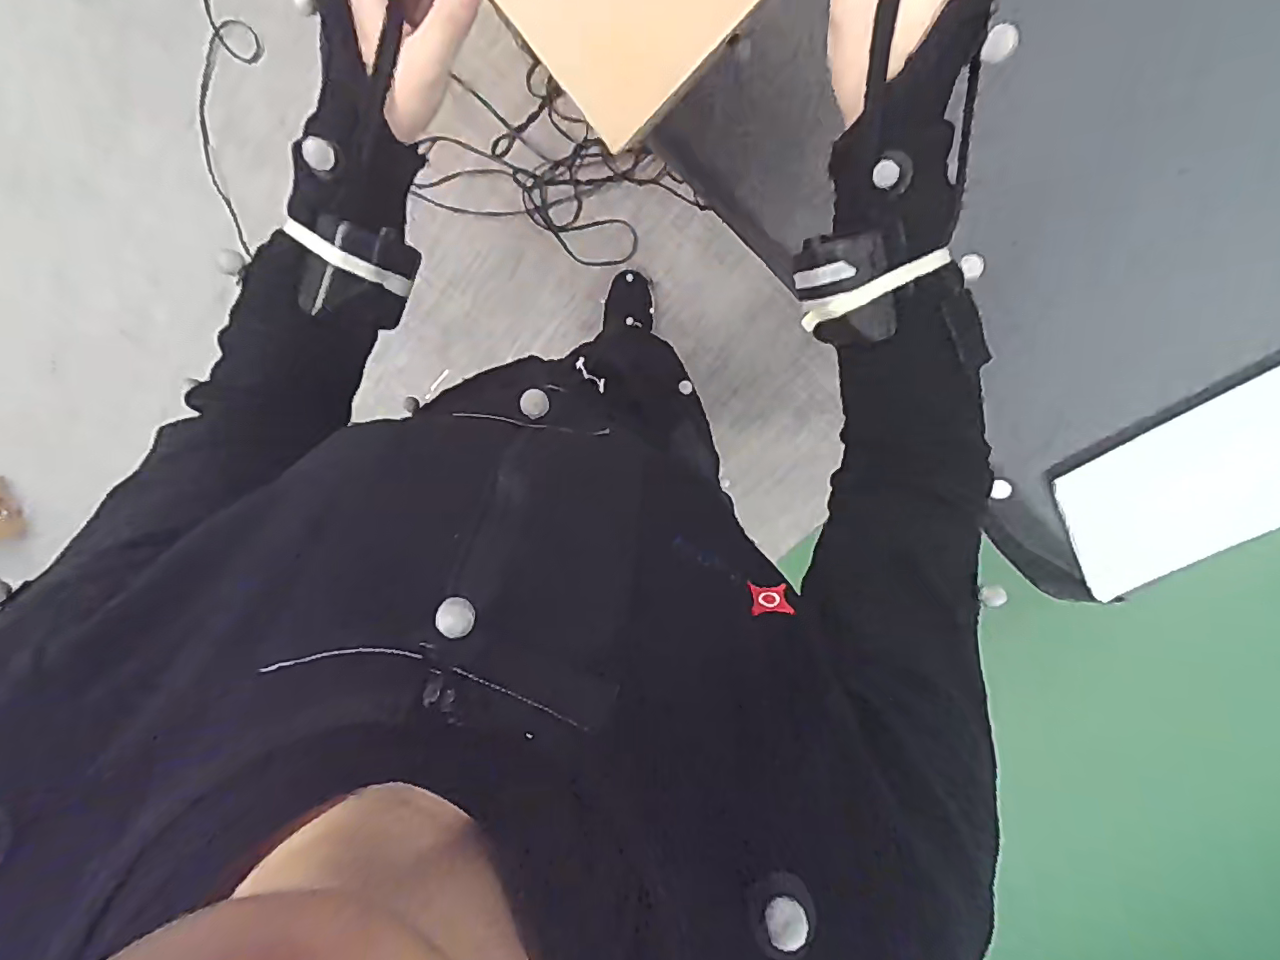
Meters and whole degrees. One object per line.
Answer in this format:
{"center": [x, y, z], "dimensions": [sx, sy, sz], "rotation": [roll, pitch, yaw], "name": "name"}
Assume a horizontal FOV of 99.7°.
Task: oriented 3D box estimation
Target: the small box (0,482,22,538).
{"center": [-1.836, 0.099, 1.432], "dimensions": [0.179, 0.176, 0.168], "rotation": [-1, 114, 2], "name": "small box"}
